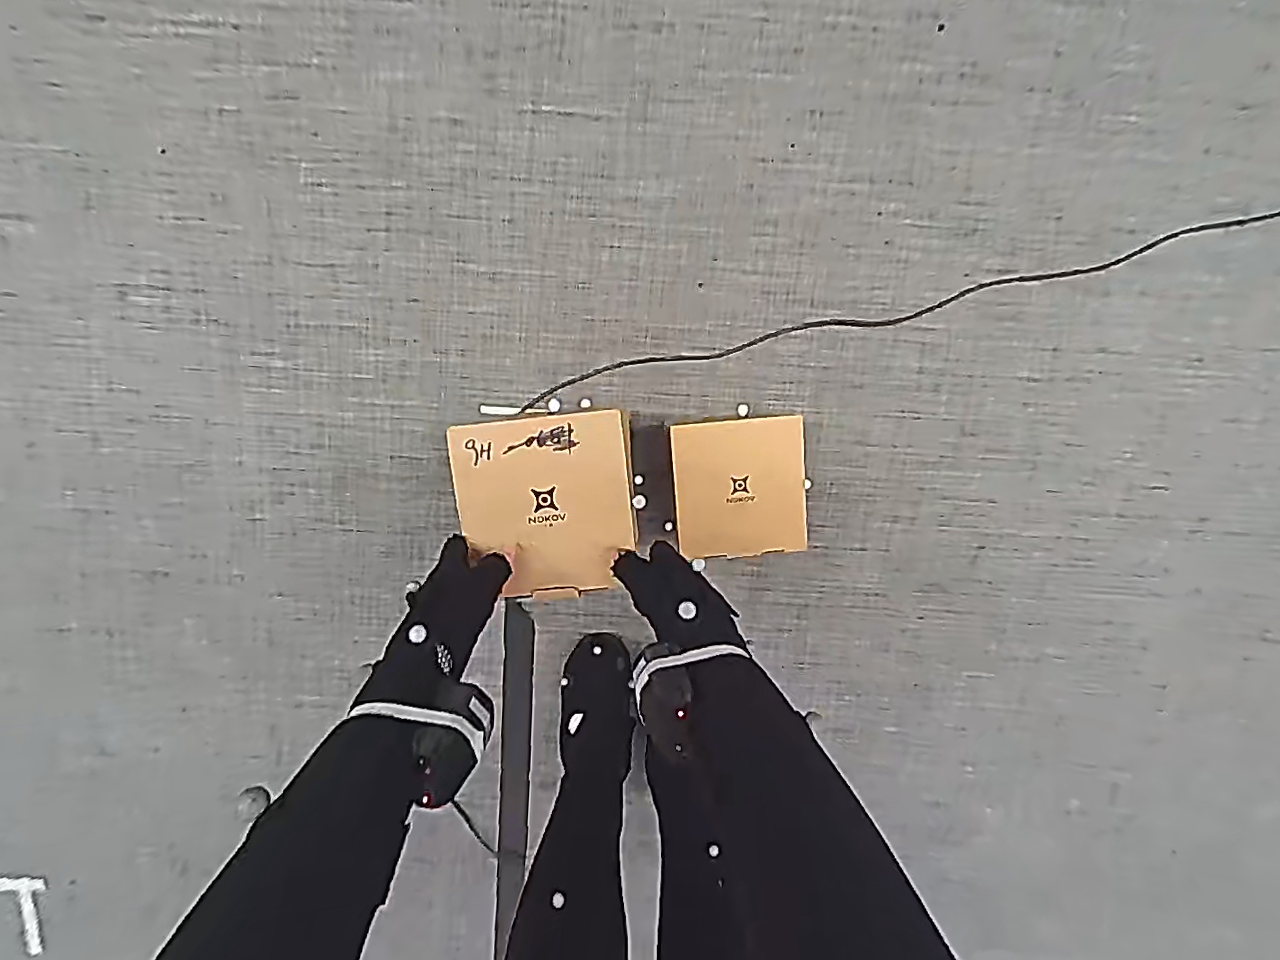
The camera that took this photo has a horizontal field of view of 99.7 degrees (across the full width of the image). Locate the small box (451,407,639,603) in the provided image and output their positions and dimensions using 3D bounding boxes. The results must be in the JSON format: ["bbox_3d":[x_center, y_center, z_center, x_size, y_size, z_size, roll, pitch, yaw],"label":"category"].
[{"bbox_3d":[-0.088,0.017,0.595,0.168,0.176,0.179,-5,100,0],"label":"small box"}]

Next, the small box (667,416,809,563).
[{"bbox_3d":[0.128,0.003,0.758,0.168,0.176,0.179,-5,100,1],"label":"small box"}]
